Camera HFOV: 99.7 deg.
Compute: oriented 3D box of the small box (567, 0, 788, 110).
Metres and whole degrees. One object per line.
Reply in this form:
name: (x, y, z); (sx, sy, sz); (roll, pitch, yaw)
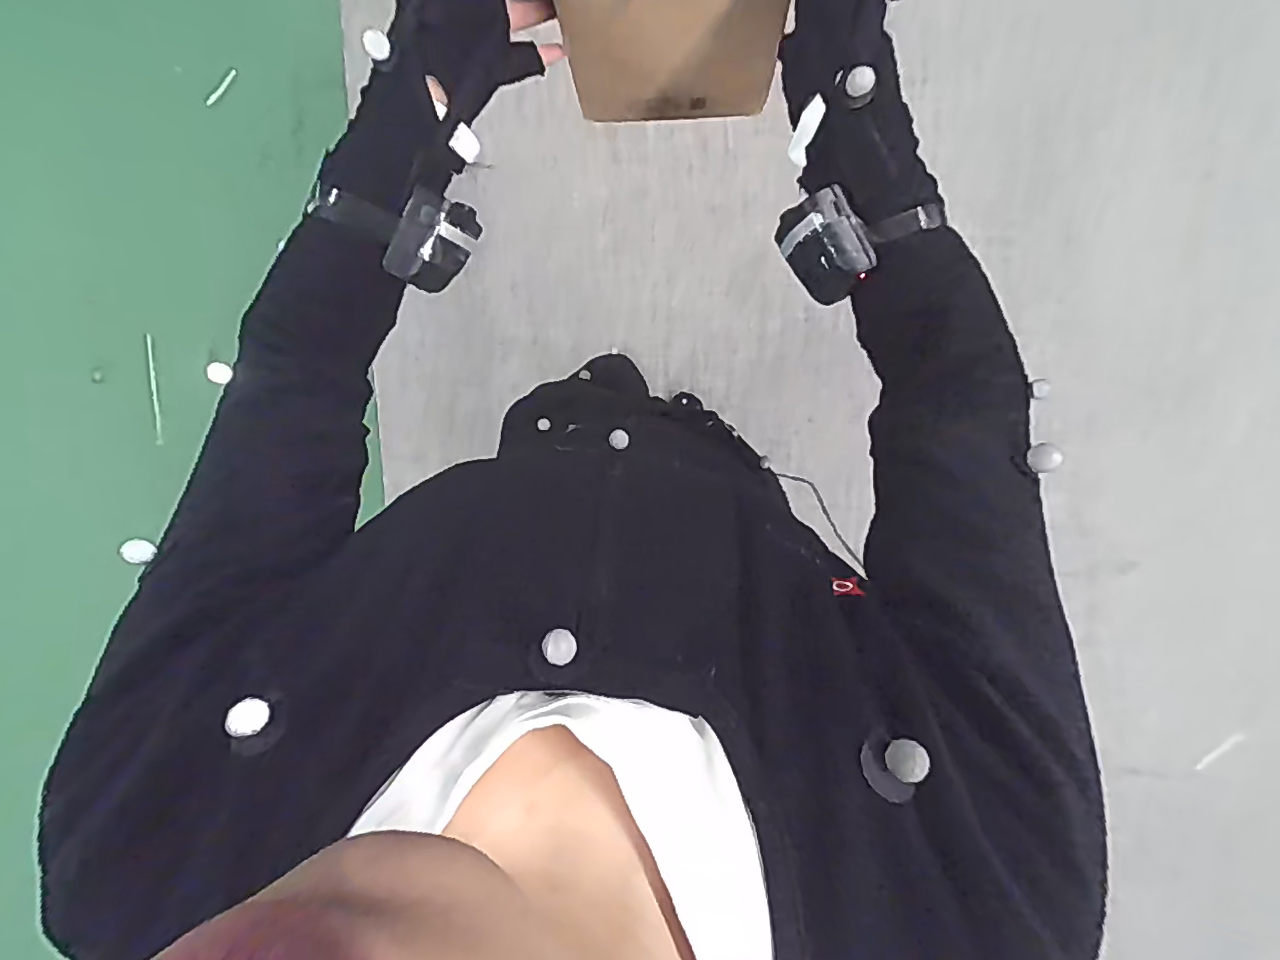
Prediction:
small box: (0.028, -0.426, 0.412); (0.168, 0.176, 0.179); (1, 88, 4)
